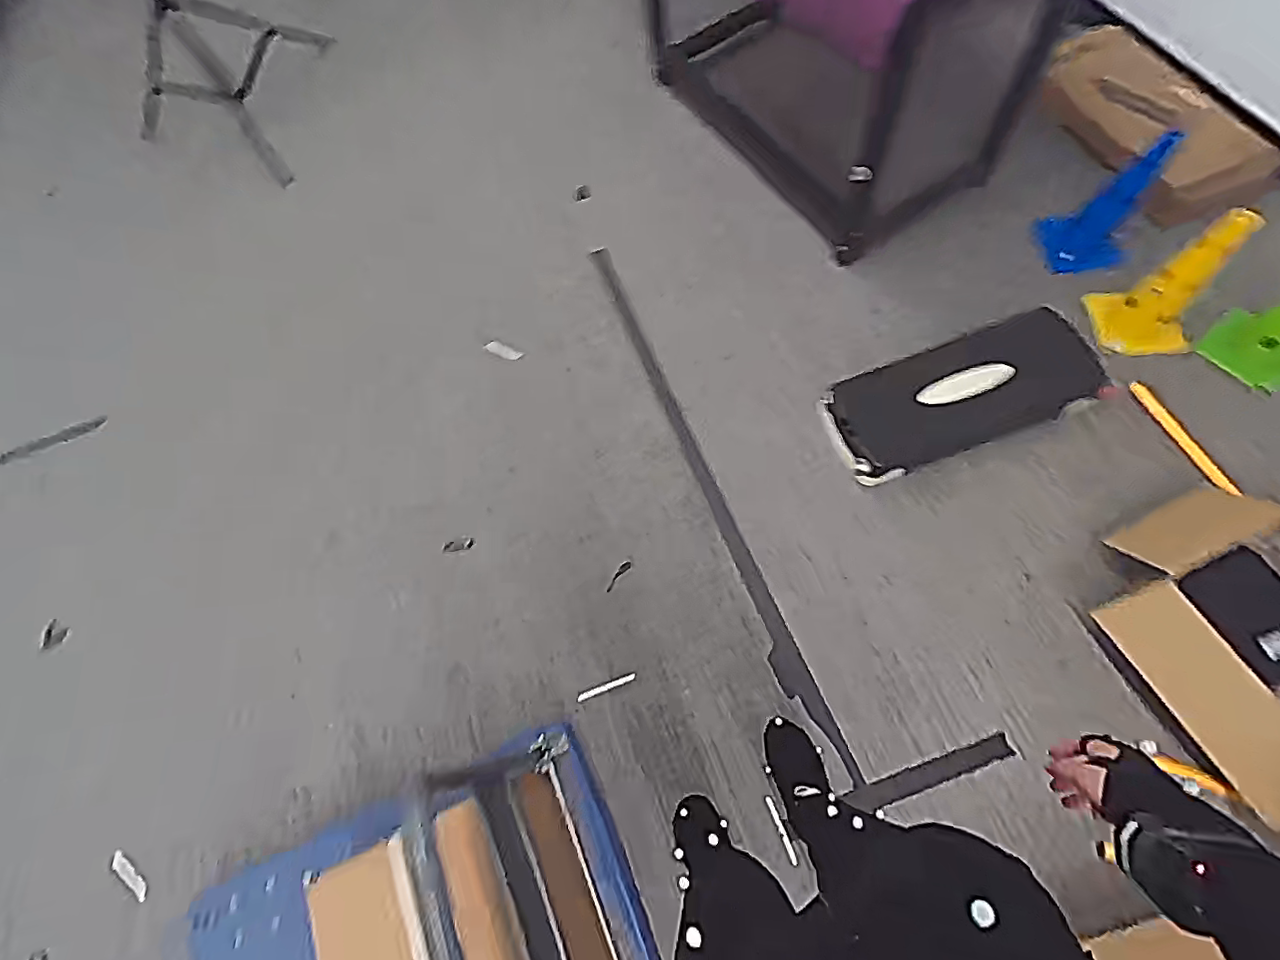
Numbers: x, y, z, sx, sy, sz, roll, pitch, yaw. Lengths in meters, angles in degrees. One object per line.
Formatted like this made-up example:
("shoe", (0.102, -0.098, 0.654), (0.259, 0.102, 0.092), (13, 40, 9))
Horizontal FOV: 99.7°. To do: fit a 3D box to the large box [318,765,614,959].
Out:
("large box", (-0.272, 0.772, 0.923), (0.320, 0.320, 0.408), (-25, 67, -3))
